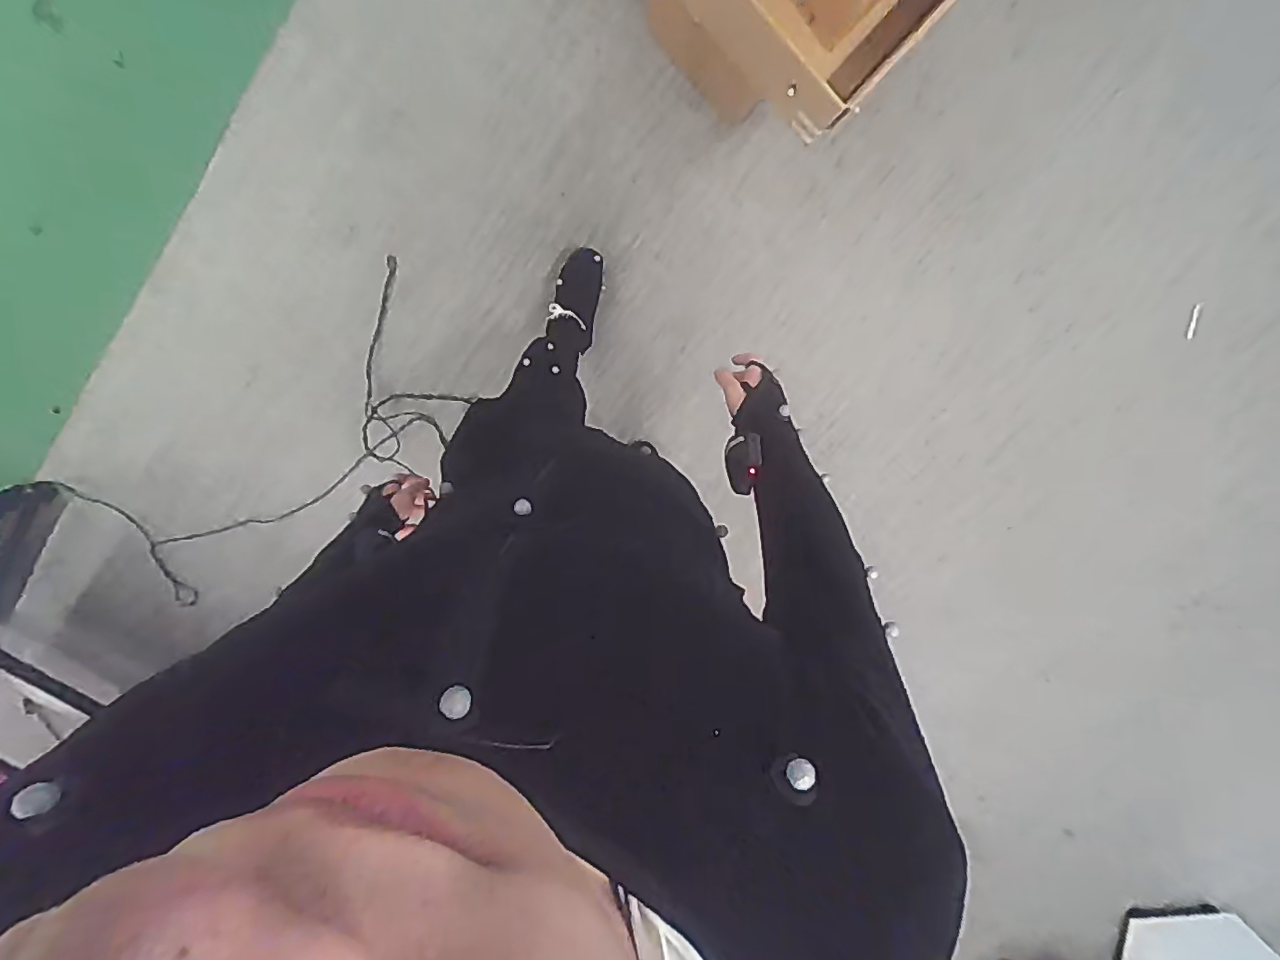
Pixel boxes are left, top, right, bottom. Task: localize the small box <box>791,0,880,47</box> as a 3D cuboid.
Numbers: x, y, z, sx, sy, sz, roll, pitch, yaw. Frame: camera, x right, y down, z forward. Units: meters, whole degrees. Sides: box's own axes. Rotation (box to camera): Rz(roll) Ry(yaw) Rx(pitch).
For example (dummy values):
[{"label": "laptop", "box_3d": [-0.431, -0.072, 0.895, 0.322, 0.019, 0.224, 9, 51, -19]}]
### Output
[{"label": "small box", "box_3d": [0.343, -0.856, 0.856, 0.179, 0.176, 0.168, -44, 102, 12]}]
